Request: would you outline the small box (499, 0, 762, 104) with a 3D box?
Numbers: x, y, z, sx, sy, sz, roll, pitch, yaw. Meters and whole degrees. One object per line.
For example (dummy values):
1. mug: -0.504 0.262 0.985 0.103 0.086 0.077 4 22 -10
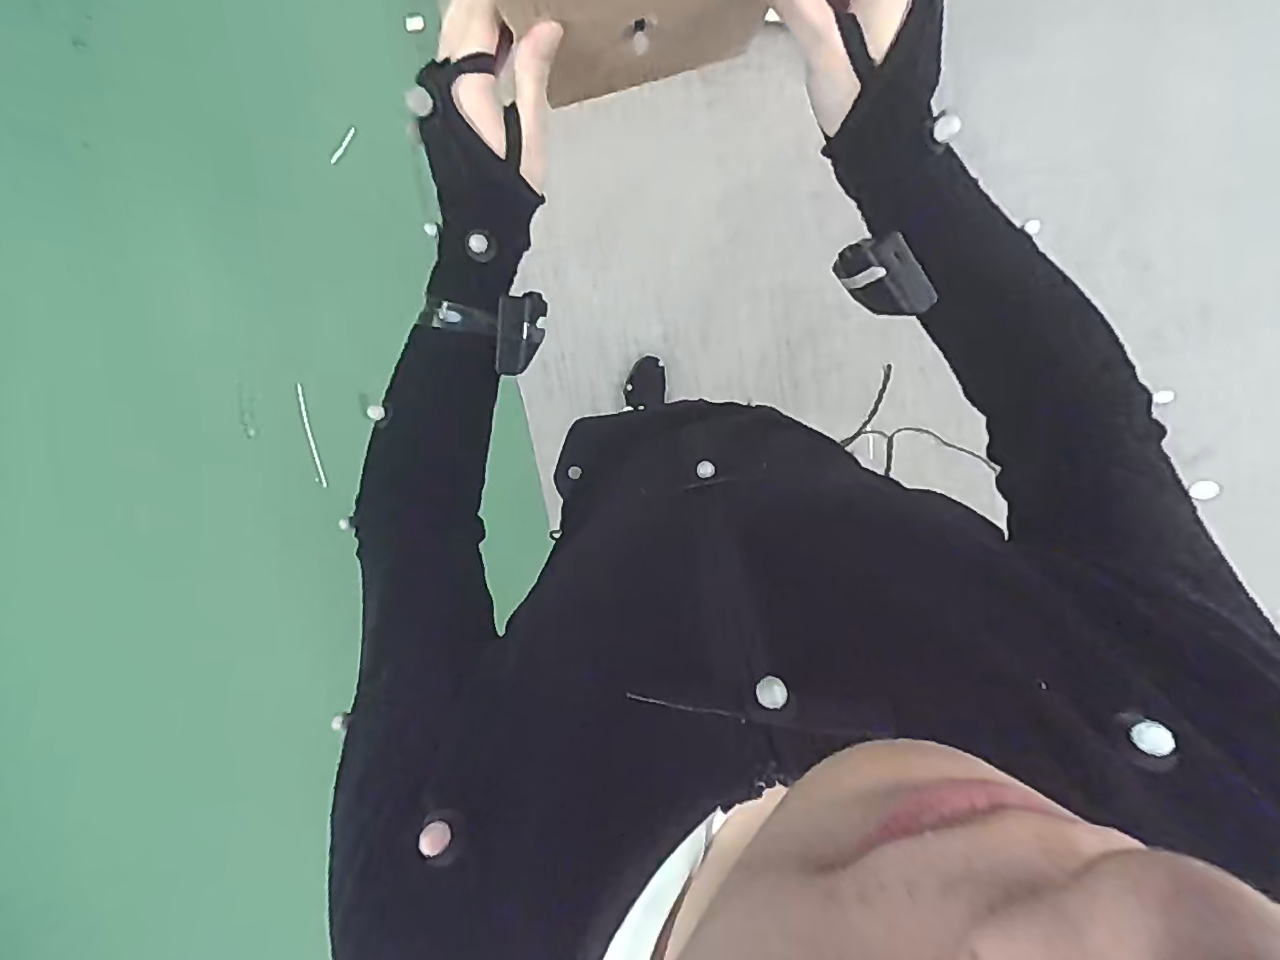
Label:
1. small box: -0.011 -0.383 0.359 0.179 0.176 0.168 -12 110 4
